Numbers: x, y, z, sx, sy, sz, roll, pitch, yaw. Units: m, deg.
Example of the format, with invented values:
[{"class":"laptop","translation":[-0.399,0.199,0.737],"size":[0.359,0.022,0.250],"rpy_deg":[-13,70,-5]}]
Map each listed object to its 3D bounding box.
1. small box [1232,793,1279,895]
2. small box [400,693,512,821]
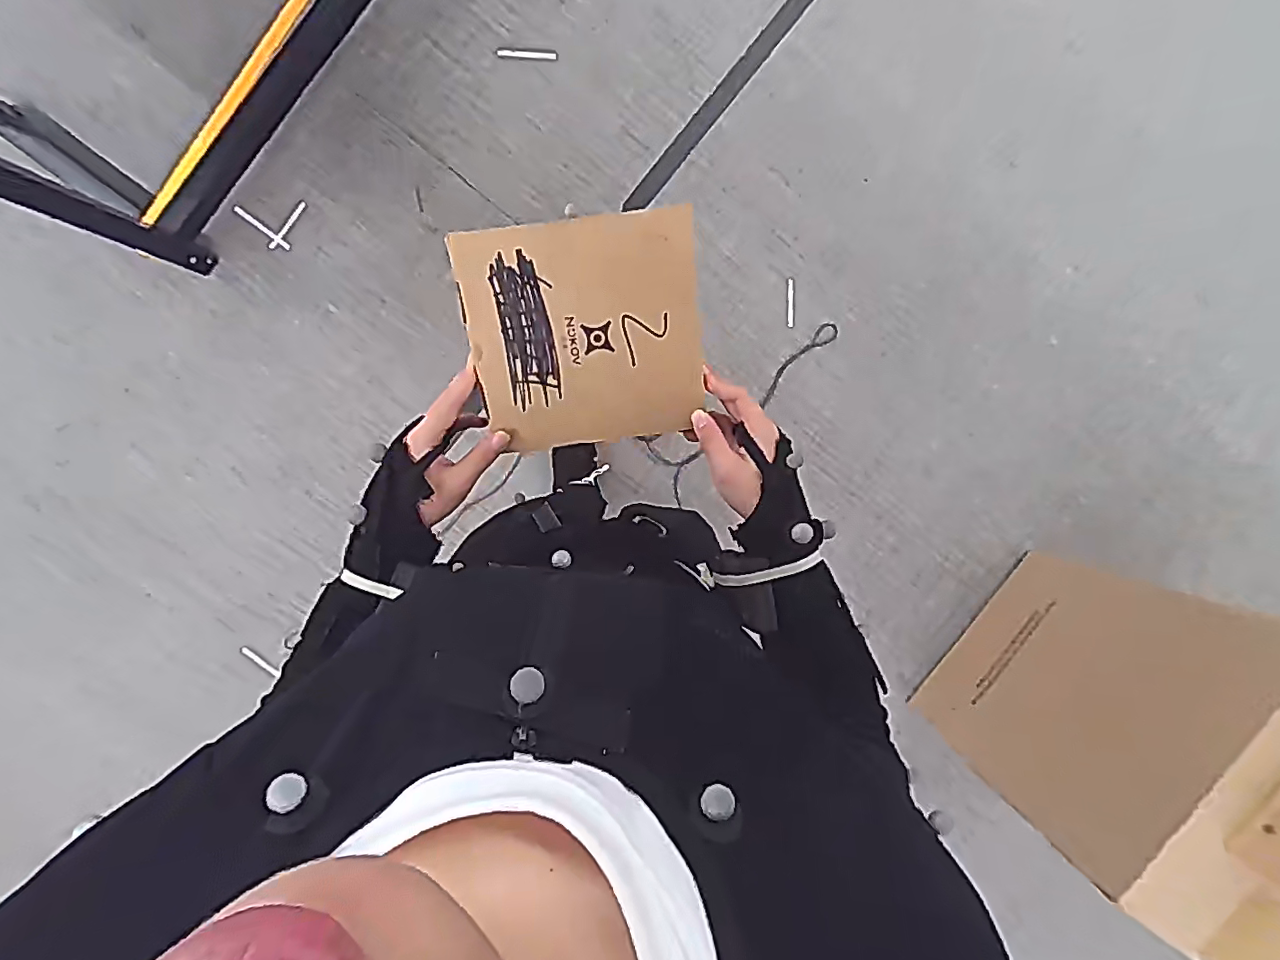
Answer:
[{"class":"small box","translation":[1.001,0.551,0.741],"size":[0.179,0.176,0.168],"rpy_deg":[39,91,-5]},{"class":"small box","translation":[-0.432,0.658,1.304],"size":[0.179,0.176,0.168],"rpy_deg":[-44,96,0]}]
